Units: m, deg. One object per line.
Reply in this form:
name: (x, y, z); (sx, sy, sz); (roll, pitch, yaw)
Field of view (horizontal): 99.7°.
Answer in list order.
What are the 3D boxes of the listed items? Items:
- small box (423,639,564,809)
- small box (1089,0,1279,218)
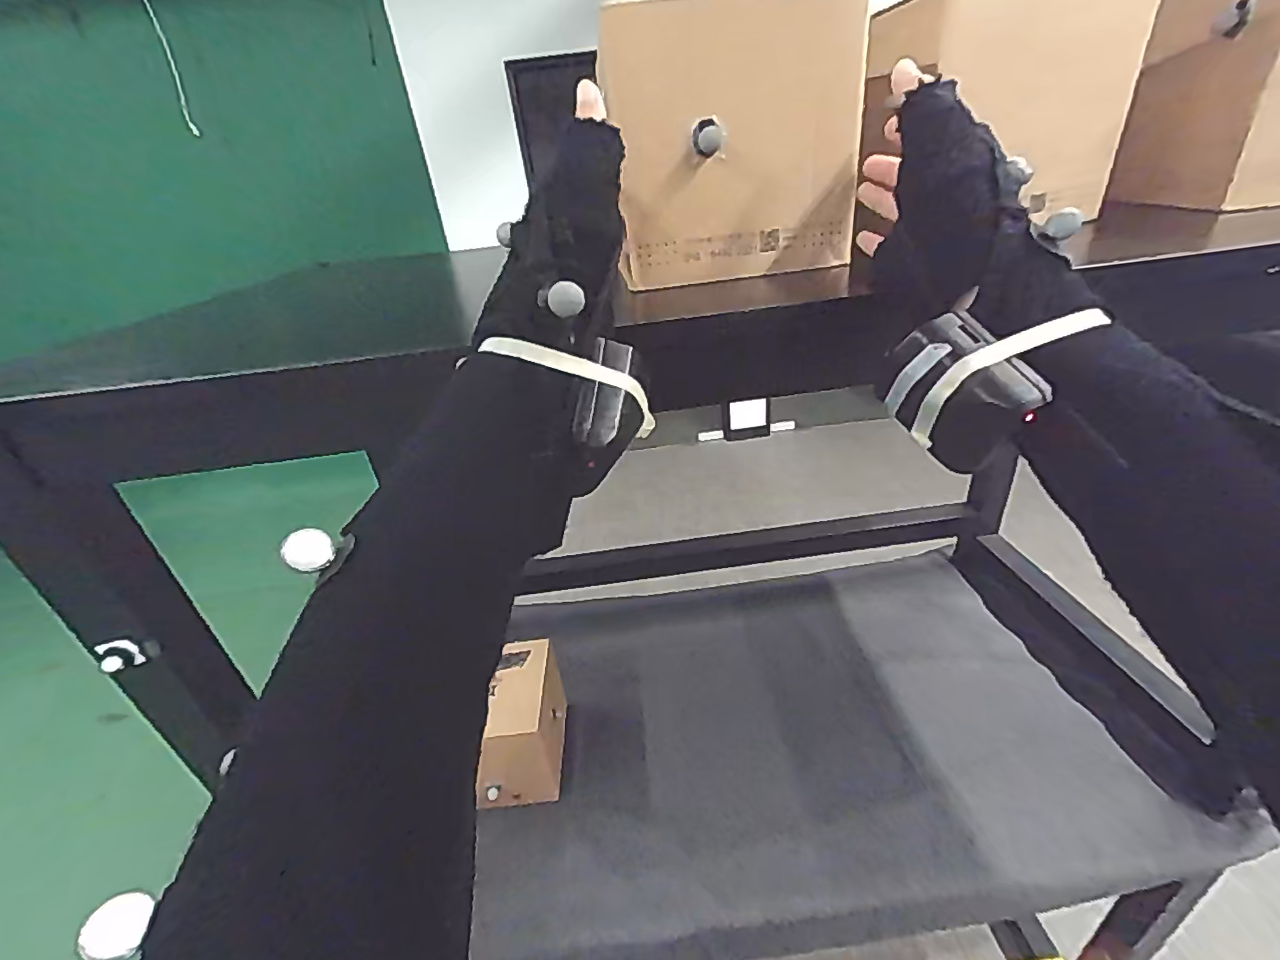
small box: (-0.218, 0.382, 0.856); (0.168, 0.176, 0.179); (-7, 30, 0)
small box: (0.524, -0.316, 0.442); (0.168, 0.176, 0.179); (-2, 30, 9)
